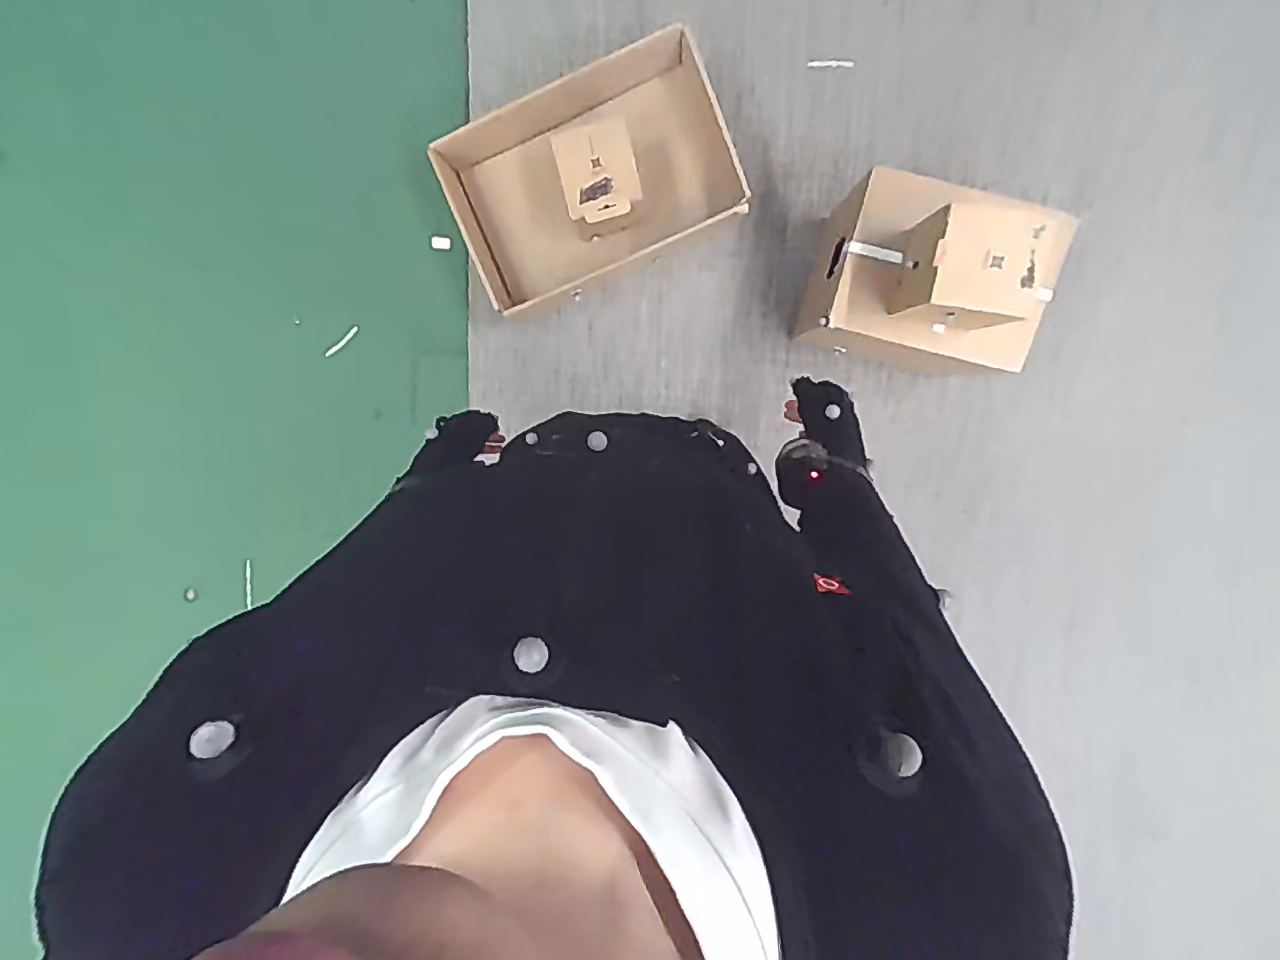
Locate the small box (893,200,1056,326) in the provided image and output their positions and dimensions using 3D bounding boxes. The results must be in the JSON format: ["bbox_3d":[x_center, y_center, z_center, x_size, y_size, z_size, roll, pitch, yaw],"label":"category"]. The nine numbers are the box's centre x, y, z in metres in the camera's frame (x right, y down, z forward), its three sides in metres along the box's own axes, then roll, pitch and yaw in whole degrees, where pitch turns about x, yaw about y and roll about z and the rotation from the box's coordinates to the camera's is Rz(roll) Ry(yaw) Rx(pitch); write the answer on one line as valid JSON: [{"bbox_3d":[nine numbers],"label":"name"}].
[{"bbox_3d":[0.585,-0.379,0.973,0.179,0.176,0.168,9,100,2],"label":"small box"}]

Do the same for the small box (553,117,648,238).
[{"bbox_3d":[-0.082,-0.673,1.232,0.168,0.176,0.179,-14,96,6],"label":"small box"}]
